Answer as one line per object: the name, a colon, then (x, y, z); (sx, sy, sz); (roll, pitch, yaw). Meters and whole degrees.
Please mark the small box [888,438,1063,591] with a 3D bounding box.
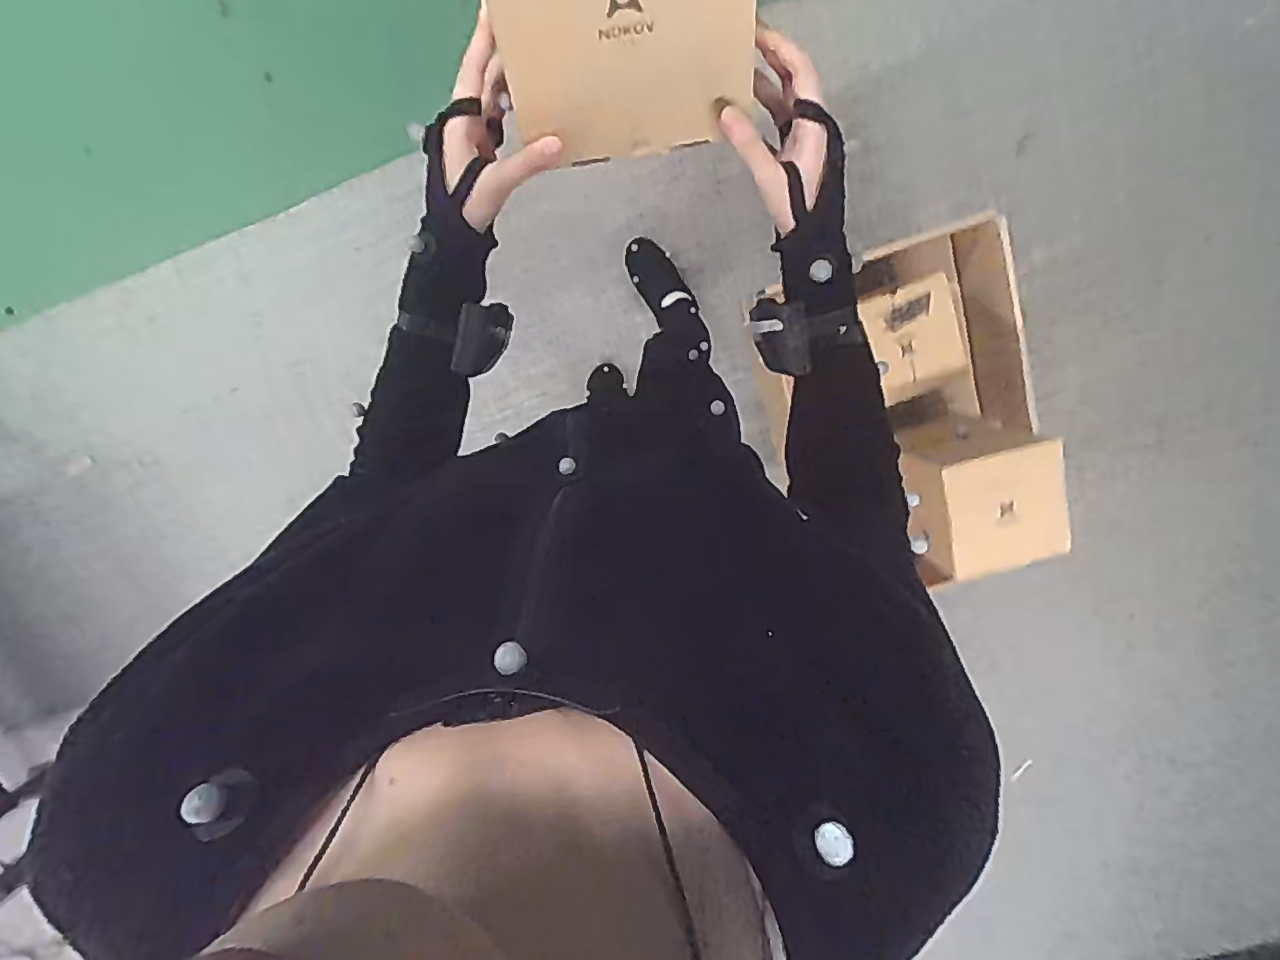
small box: (0.509, 0.046, 0.839); (0.168, 0.176, 0.179); (-13, 102, 4)
